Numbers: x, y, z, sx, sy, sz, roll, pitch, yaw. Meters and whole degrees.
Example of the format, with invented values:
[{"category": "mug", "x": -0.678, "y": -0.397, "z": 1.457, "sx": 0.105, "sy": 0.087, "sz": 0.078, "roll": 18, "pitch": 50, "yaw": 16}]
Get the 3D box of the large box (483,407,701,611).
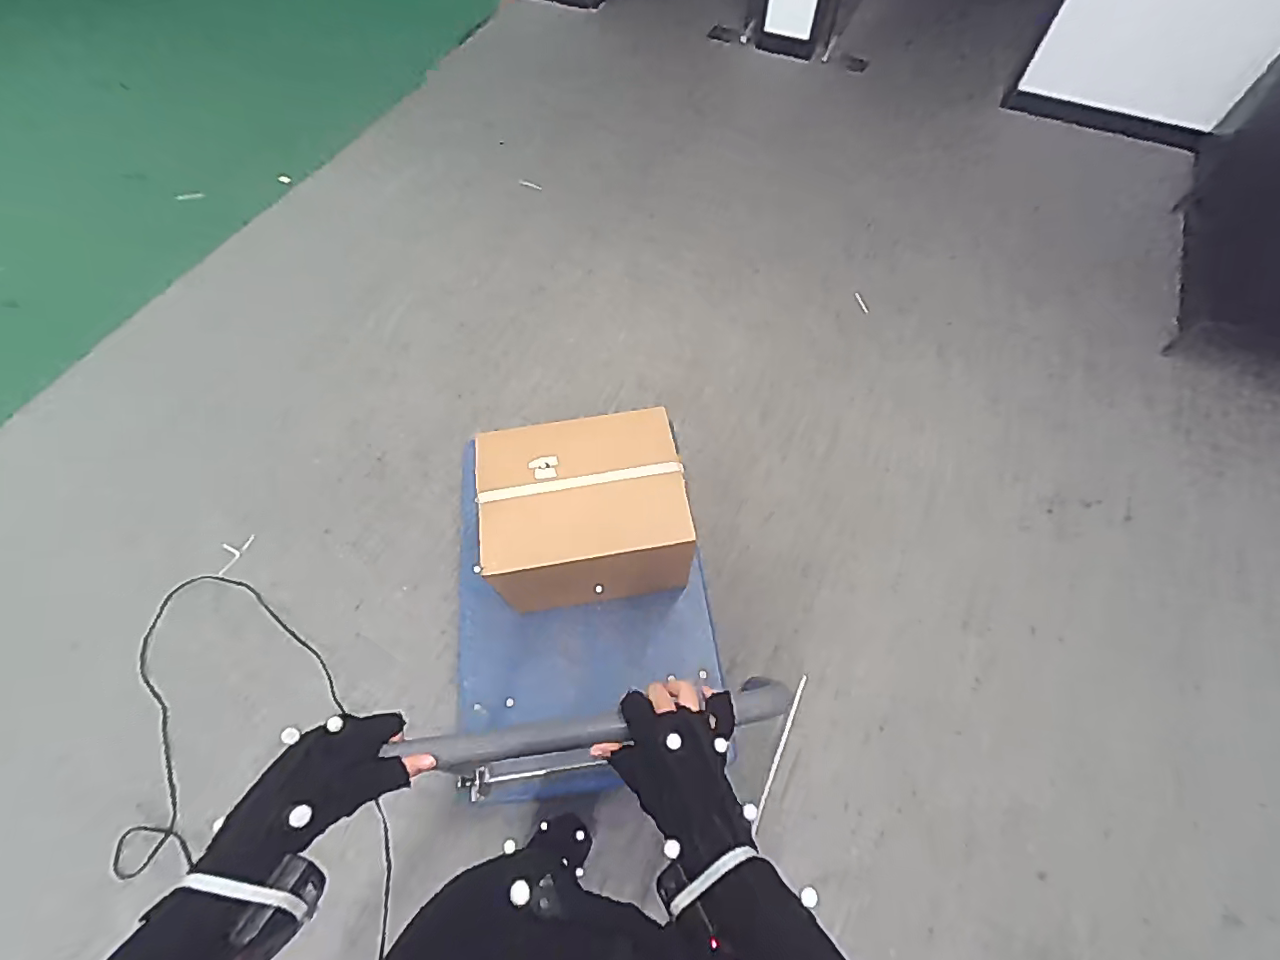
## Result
[{"category": "large box", "x": -0.102, "y": 0.076, "z": 1.208, "sx": 0.408, "sy": 0.320, "sz": 0.320, "roll": -10, "pitch": 62, "yaw": -4}]
